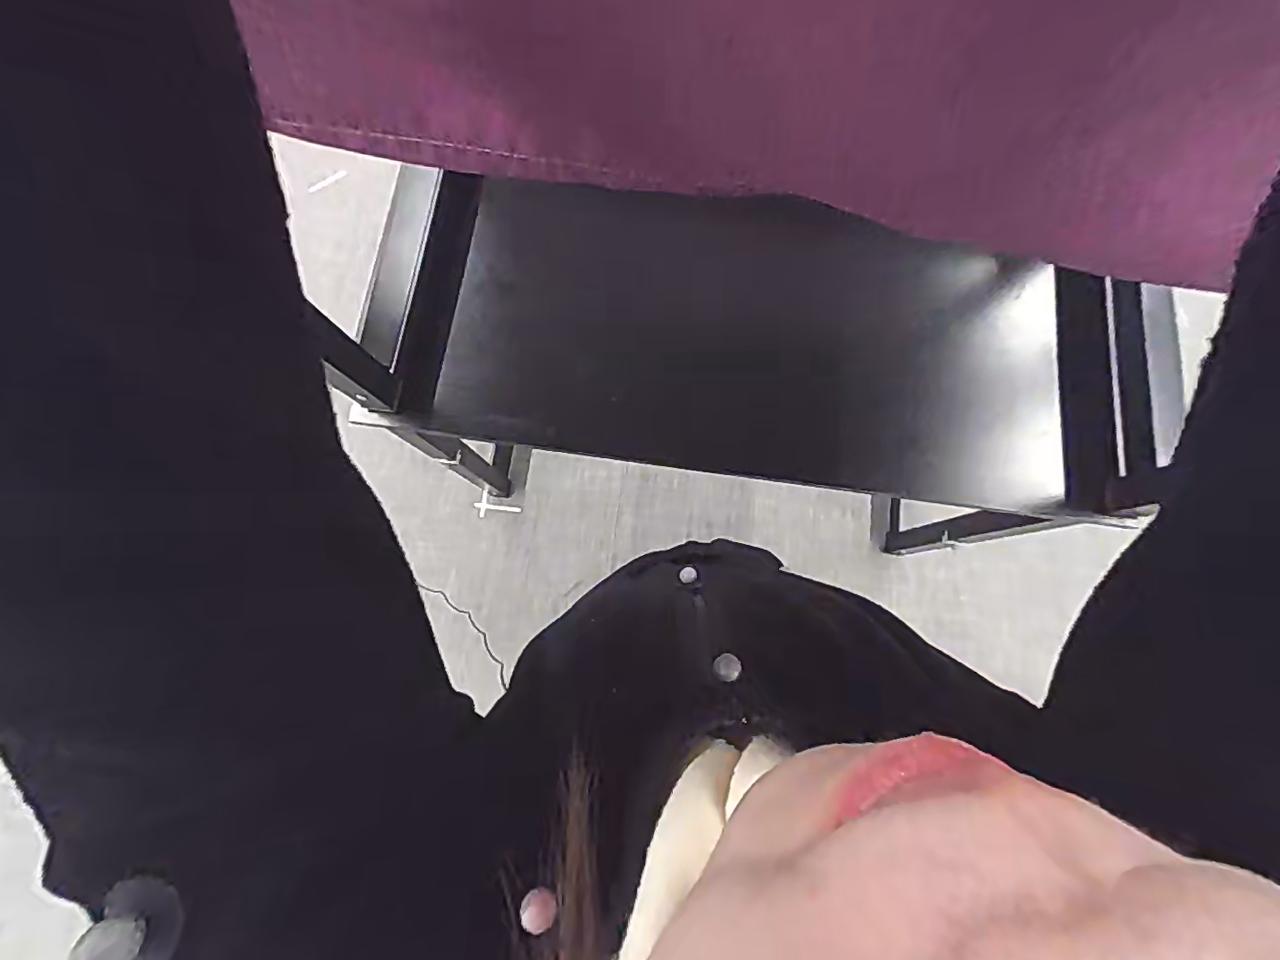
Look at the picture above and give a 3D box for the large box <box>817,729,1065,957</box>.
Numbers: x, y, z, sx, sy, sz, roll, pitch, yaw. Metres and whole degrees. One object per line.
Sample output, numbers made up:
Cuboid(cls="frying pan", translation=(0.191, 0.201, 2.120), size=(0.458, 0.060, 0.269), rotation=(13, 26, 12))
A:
Cuboid(cls="large box", translation=(0.655, 0.792, 1.238), size=(0.408, 0.320, 0.320), rotation=(9, 79, 2))
